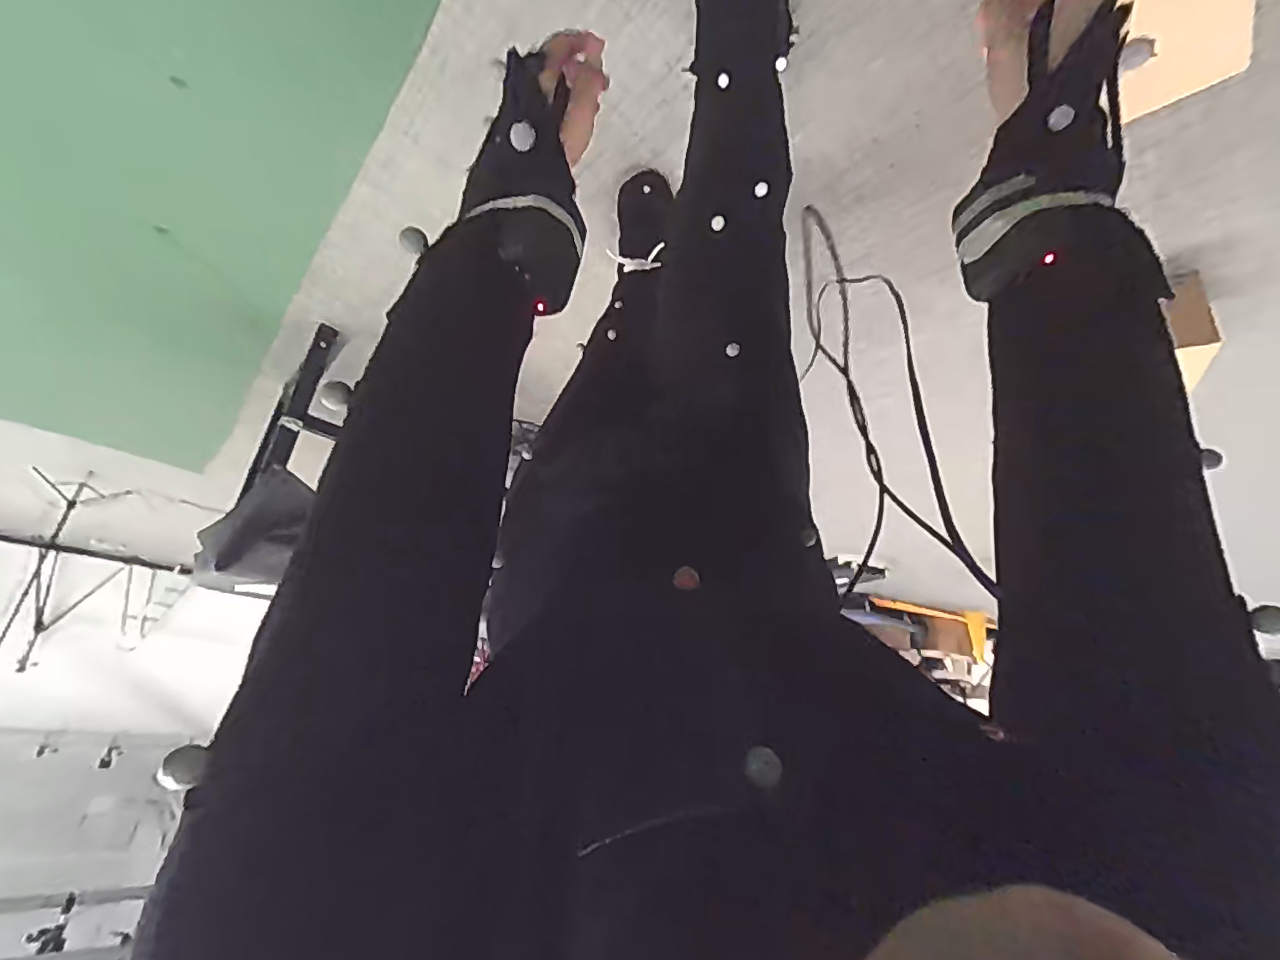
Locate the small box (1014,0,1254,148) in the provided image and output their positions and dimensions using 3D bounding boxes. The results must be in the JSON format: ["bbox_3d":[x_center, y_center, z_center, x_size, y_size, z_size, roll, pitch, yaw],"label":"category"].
[{"bbox_3d":[0.544,-0.540,0.611,0.179,0.176,0.168,-12,152,43],"label":"small box"}]
